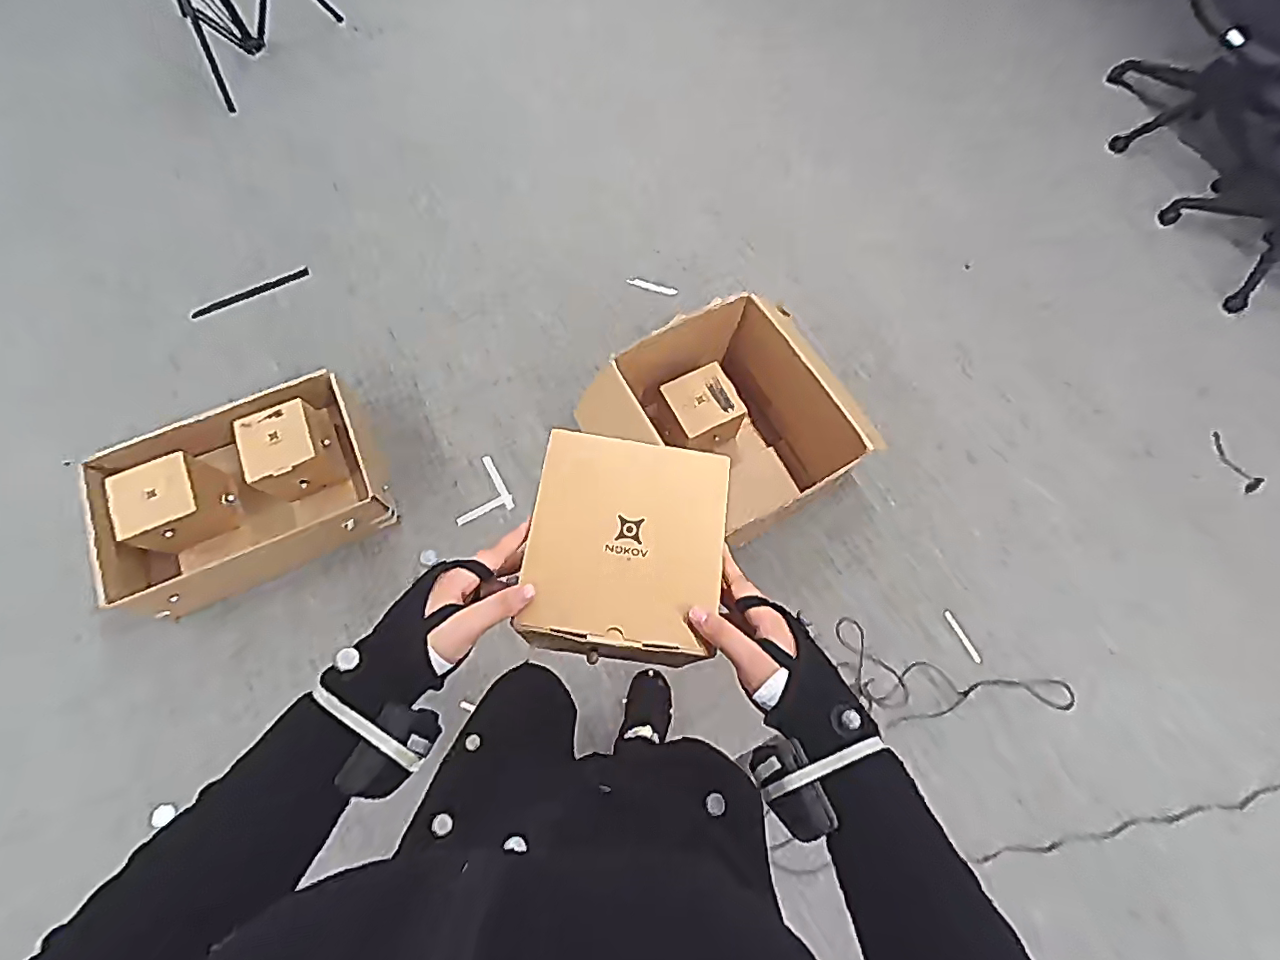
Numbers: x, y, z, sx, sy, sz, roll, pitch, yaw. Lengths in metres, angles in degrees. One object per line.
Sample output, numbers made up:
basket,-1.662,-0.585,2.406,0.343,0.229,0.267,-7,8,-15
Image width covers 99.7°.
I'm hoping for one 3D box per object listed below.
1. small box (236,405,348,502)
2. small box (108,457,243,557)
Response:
small box,-0.880,-0.057,1.382,0.168,0.176,0.179,-22,74,-8
small box,-1.135,0.073,1.331,0.179,0.176,0.168,-24,75,-11
